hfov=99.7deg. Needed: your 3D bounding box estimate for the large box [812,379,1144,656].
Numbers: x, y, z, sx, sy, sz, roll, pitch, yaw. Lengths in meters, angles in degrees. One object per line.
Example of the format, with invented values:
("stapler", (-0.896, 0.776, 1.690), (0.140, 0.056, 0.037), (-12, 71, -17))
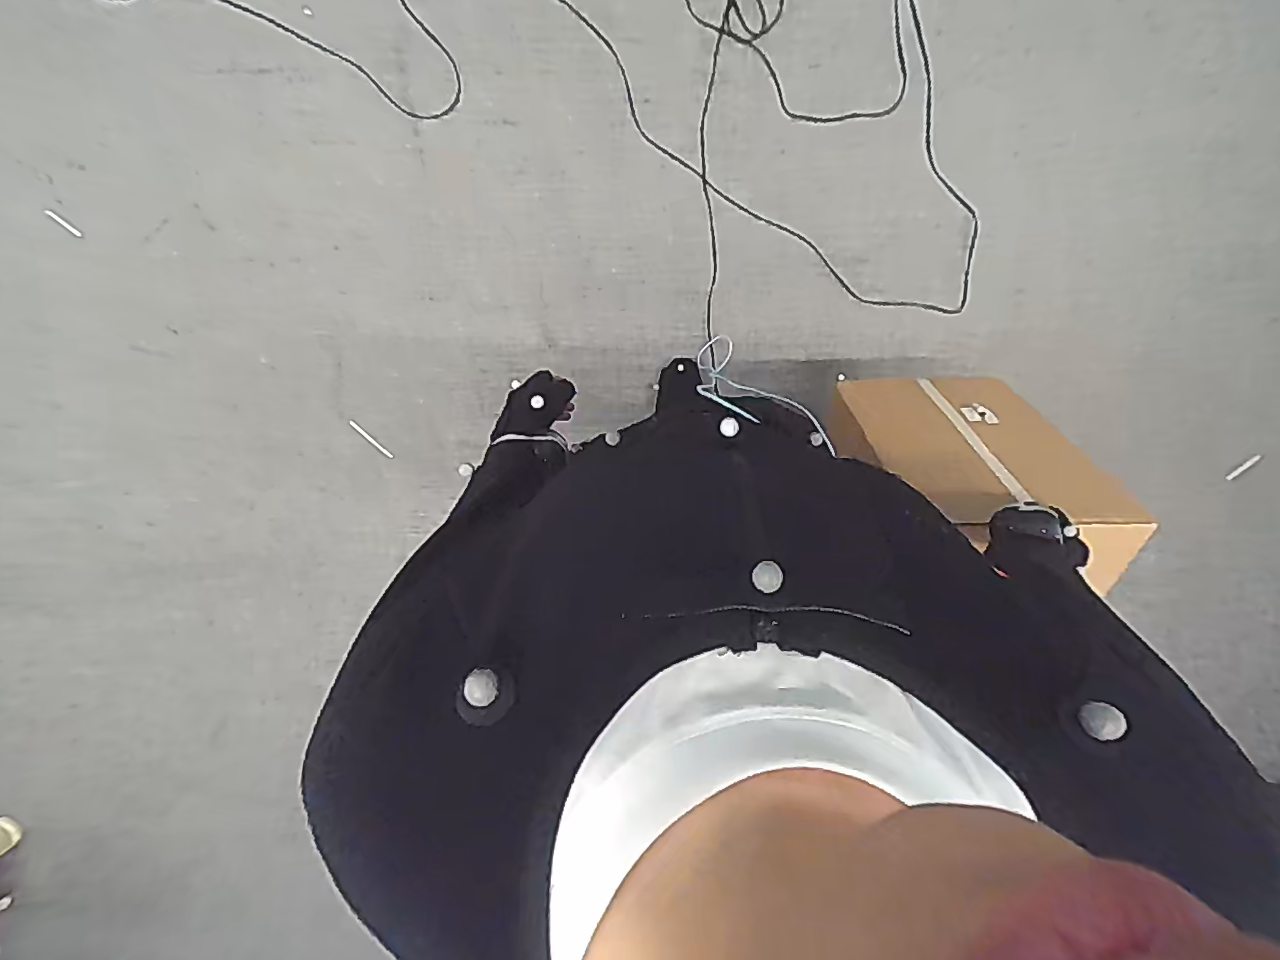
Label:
("large box", (0.526, 0.054, 0.964), (0.320, 0.408, 0.320), (-1, 128, 1))
